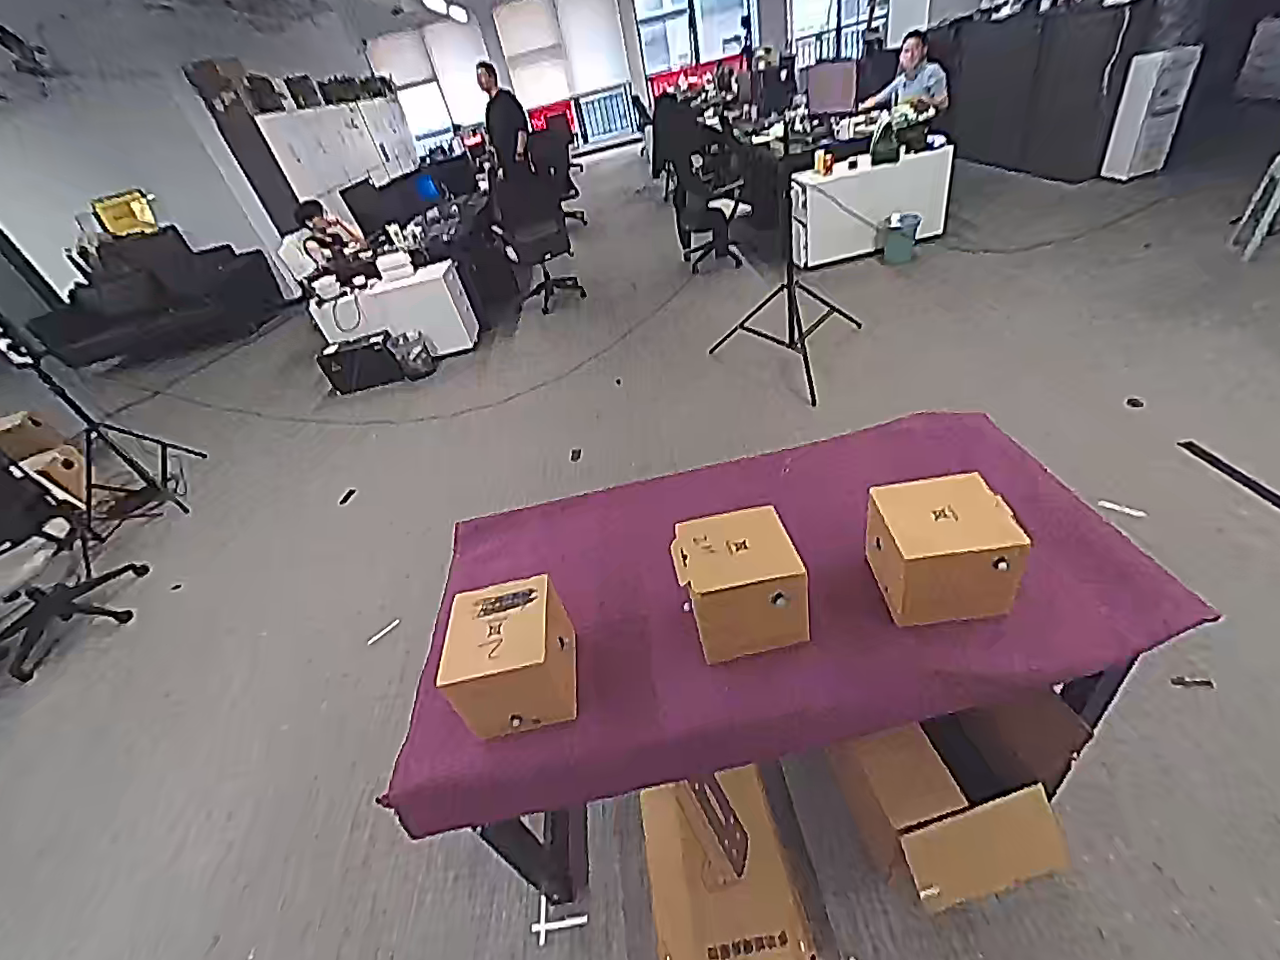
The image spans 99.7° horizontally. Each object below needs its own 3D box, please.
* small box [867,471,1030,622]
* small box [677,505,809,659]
[{"bbox_3d":[0.482,0.112,0.877,0.179,0.176,0.168,-9,38,7],"label":"small box"},{"bbox_3d":[0.171,0.171,0.905,0.179,0.176,0.168,-14,35,2],"label":"small box"}]
